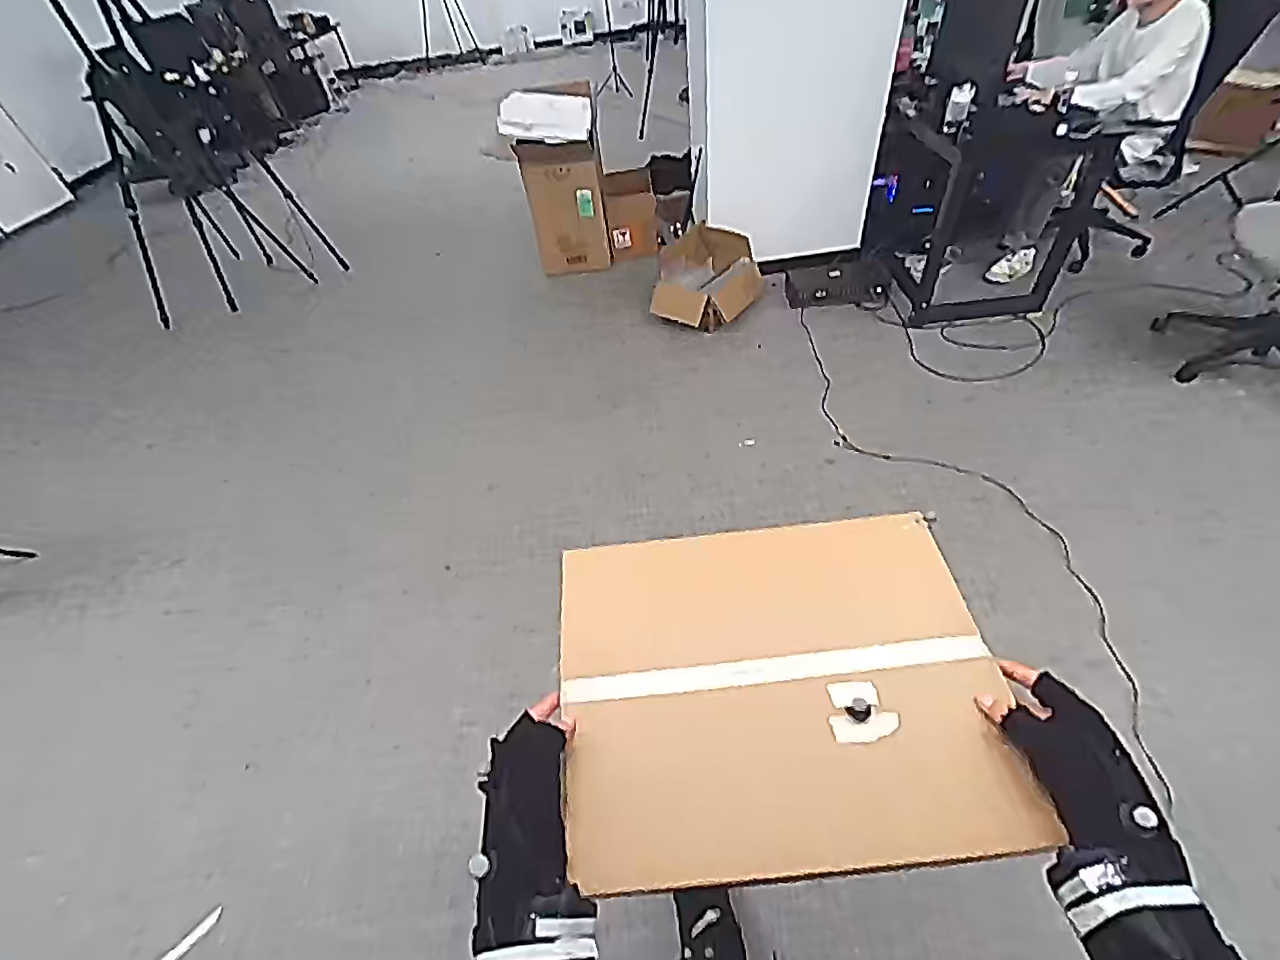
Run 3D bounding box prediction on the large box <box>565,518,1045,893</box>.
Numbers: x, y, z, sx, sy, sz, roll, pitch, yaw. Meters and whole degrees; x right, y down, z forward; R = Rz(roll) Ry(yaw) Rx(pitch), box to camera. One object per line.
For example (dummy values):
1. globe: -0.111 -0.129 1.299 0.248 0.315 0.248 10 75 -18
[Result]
1. large box: 0.134 0.278 0.648 0.408 0.320 0.320 -6 52 1
